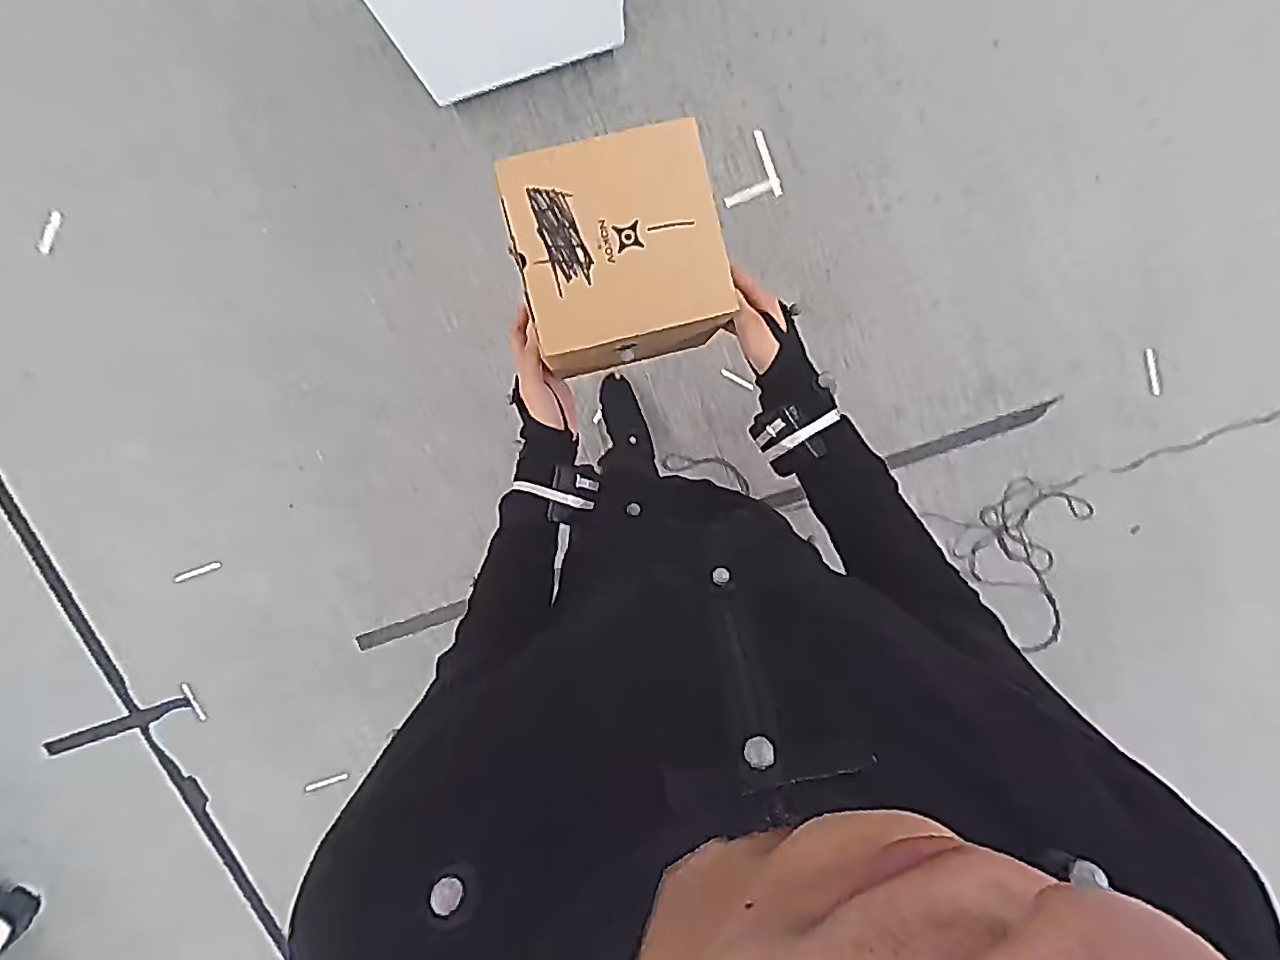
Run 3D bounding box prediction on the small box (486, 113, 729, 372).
[{"bbox_3d":[-0.030,-0.214,0.535,0.179,0.176,0.168,-15,95,-3],"label":"small box"}]
